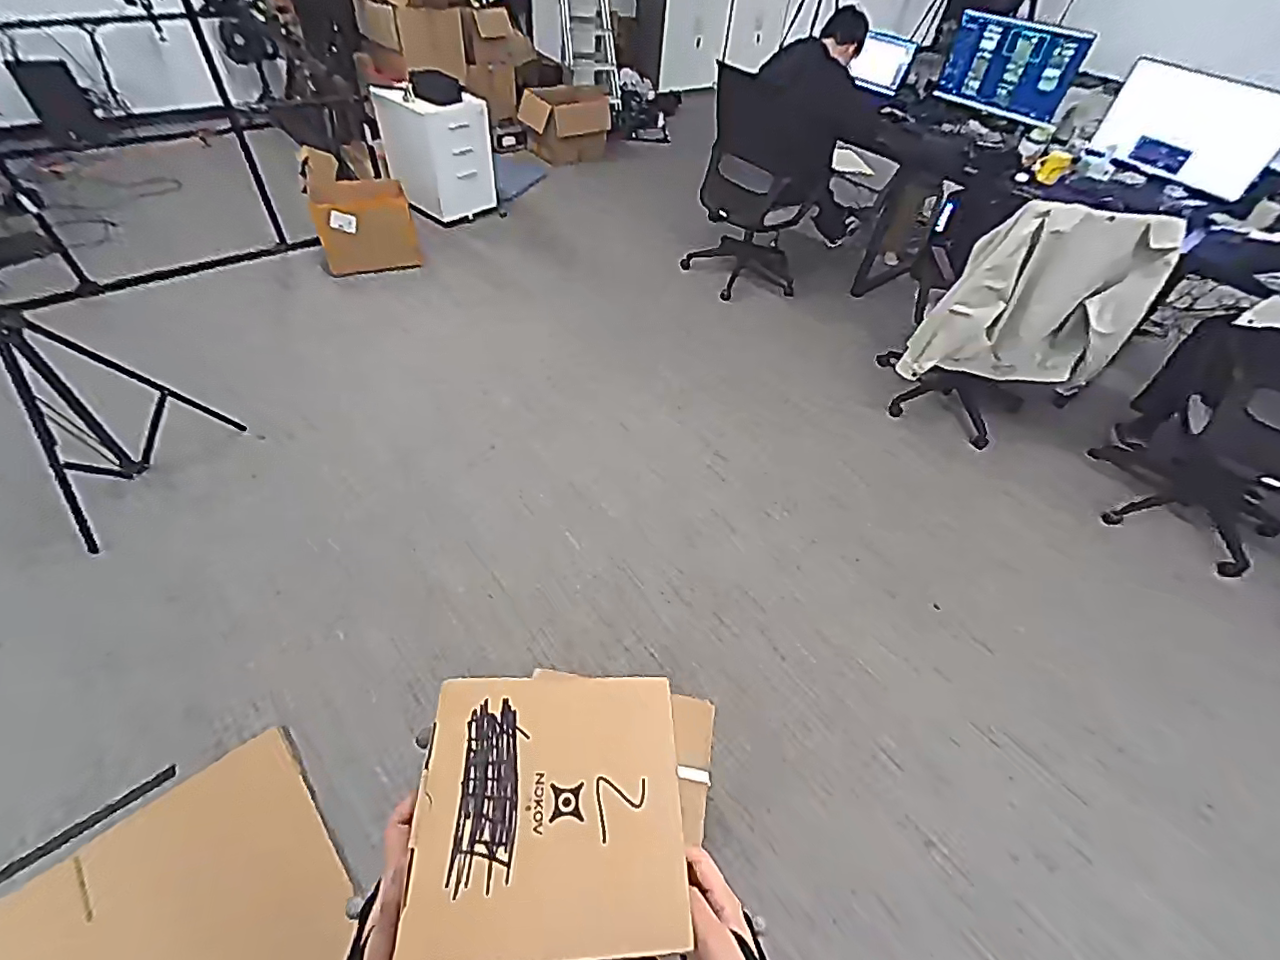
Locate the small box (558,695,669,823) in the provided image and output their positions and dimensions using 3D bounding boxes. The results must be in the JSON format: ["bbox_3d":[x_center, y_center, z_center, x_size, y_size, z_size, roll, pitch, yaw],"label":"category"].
[{"bbox_3d":[-0.047,0.524,1.009,0.179,0.176,0.168,9,49,1],"label":"small box"}]
